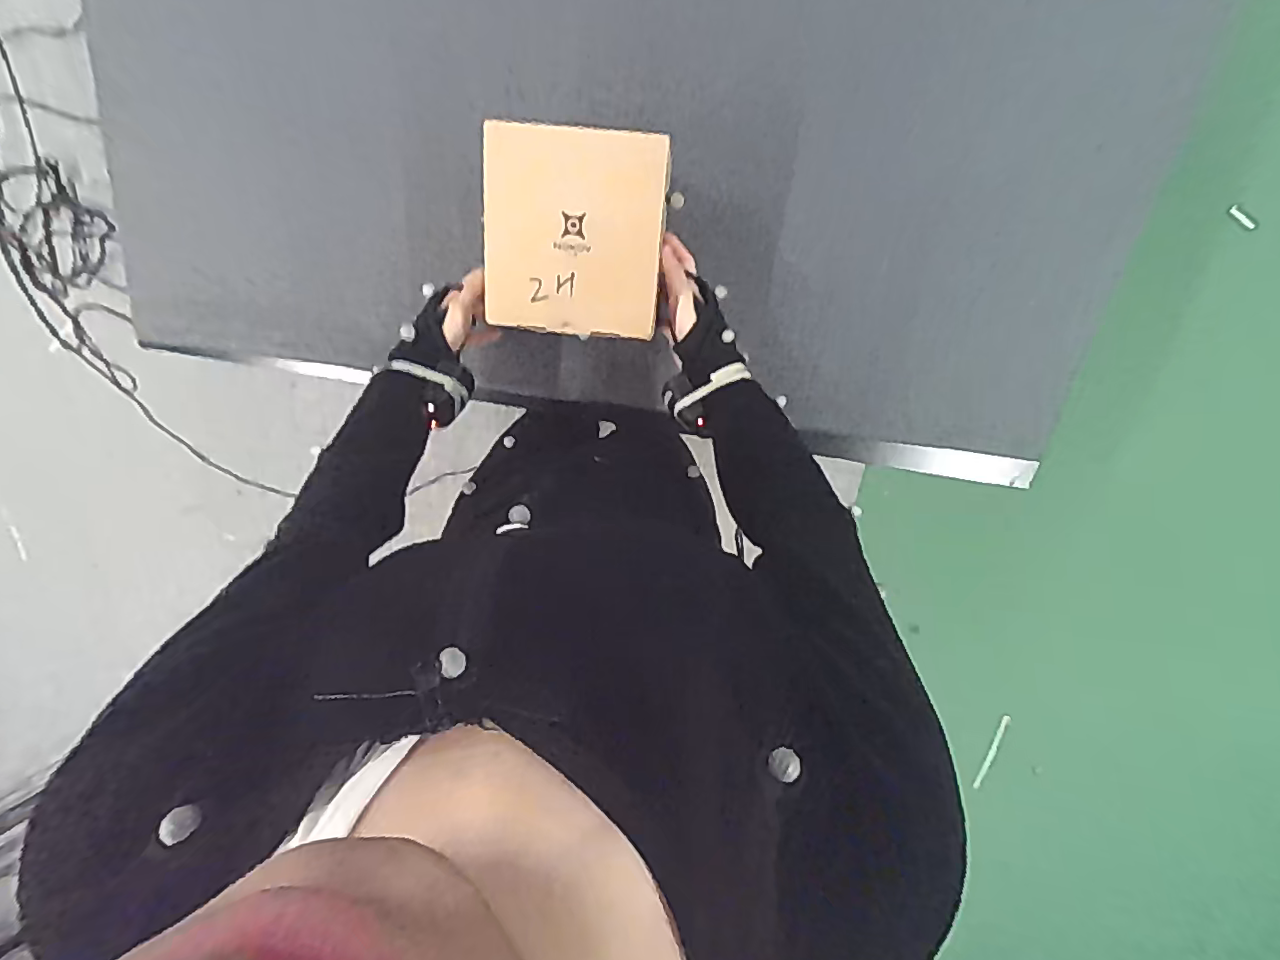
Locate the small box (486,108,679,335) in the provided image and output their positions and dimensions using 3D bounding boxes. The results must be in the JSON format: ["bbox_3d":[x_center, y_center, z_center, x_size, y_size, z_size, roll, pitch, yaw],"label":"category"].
[{"bbox_3d":[-0.053,-0.252,0.563,0.168,0.176,0.179,6,108,1],"label":"small box"}]
